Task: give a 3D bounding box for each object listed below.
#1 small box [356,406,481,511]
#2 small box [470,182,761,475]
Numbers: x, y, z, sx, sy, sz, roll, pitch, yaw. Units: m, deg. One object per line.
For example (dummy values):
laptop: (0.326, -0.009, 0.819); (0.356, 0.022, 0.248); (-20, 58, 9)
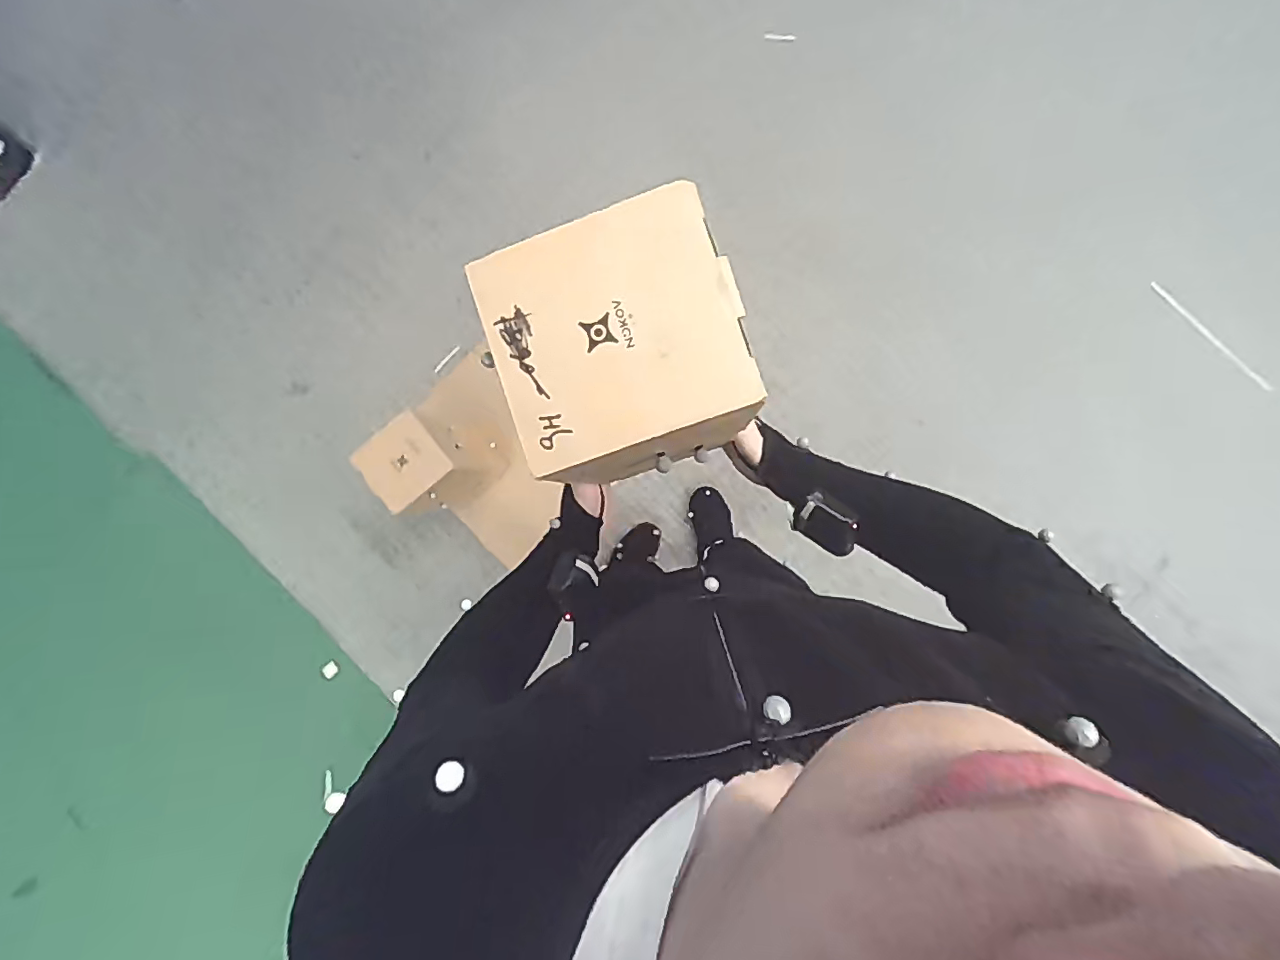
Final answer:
small box: (-0.505, -0.046, 1.260); (0.179, 0.176, 0.168); (-39, 89, 2)
small box: (-0.013, -0.107, 0.463); (0.179, 0.176, 0.168); (-17, 86, 5)
